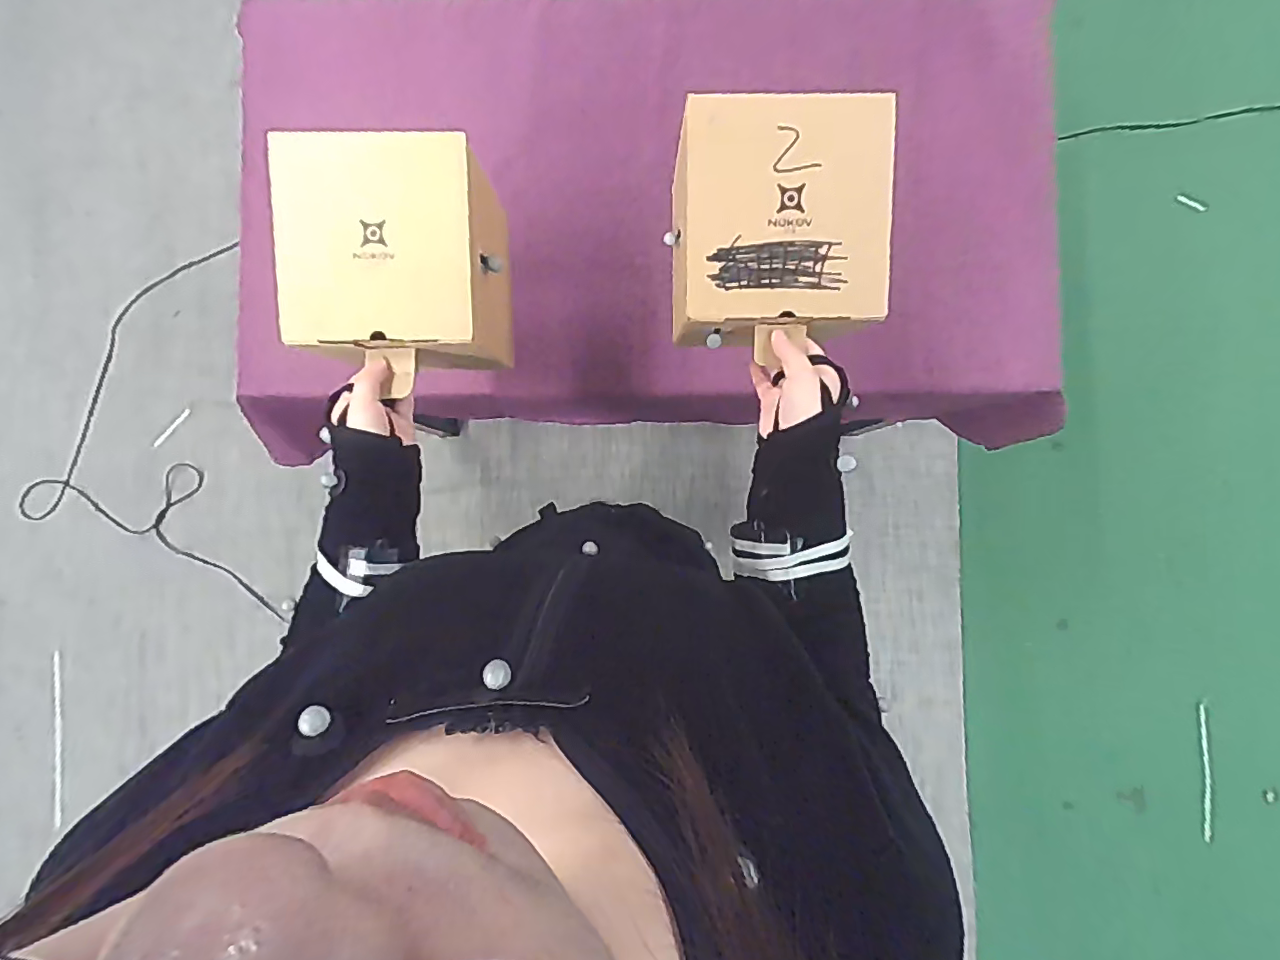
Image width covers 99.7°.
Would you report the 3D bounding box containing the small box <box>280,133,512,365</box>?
[{"bbox_3d":[-0.230,-0.218,0.552,0.168,0.176,0.179,-1,96,-2],"label":"small box"}]
